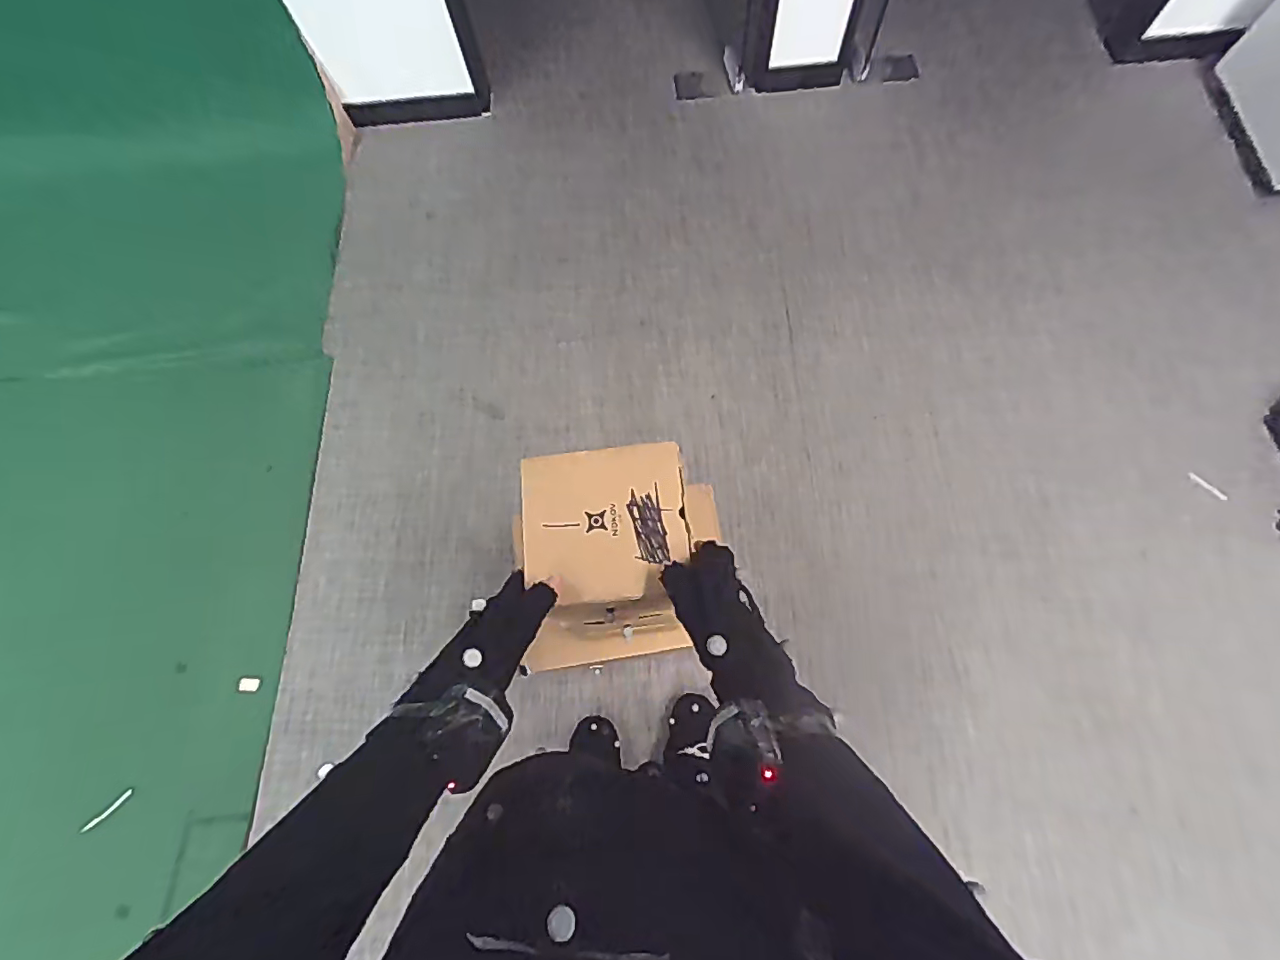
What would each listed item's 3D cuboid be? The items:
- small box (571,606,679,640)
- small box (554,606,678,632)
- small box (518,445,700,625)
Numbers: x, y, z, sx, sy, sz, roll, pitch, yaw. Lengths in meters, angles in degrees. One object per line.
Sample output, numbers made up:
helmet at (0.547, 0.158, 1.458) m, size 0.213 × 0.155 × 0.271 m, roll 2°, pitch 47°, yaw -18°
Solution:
small box at (-0.029, 0.185, 0.948) m, size 0.179 × 0.176 × 0.168 m, roll -7°, pitch 72°, yaw -1°
small box at (-0.035, 0.126, 0.795) m, size 0.168 × 0.176 × 0.179 m, roll -7°, pitch 72°, yaw 0°
small box at (-0.036, 0.073, 0.639) m, size 0.179 × 0.176 × 0.168 m, roll -9°, pitch 72°, yaw -2°
